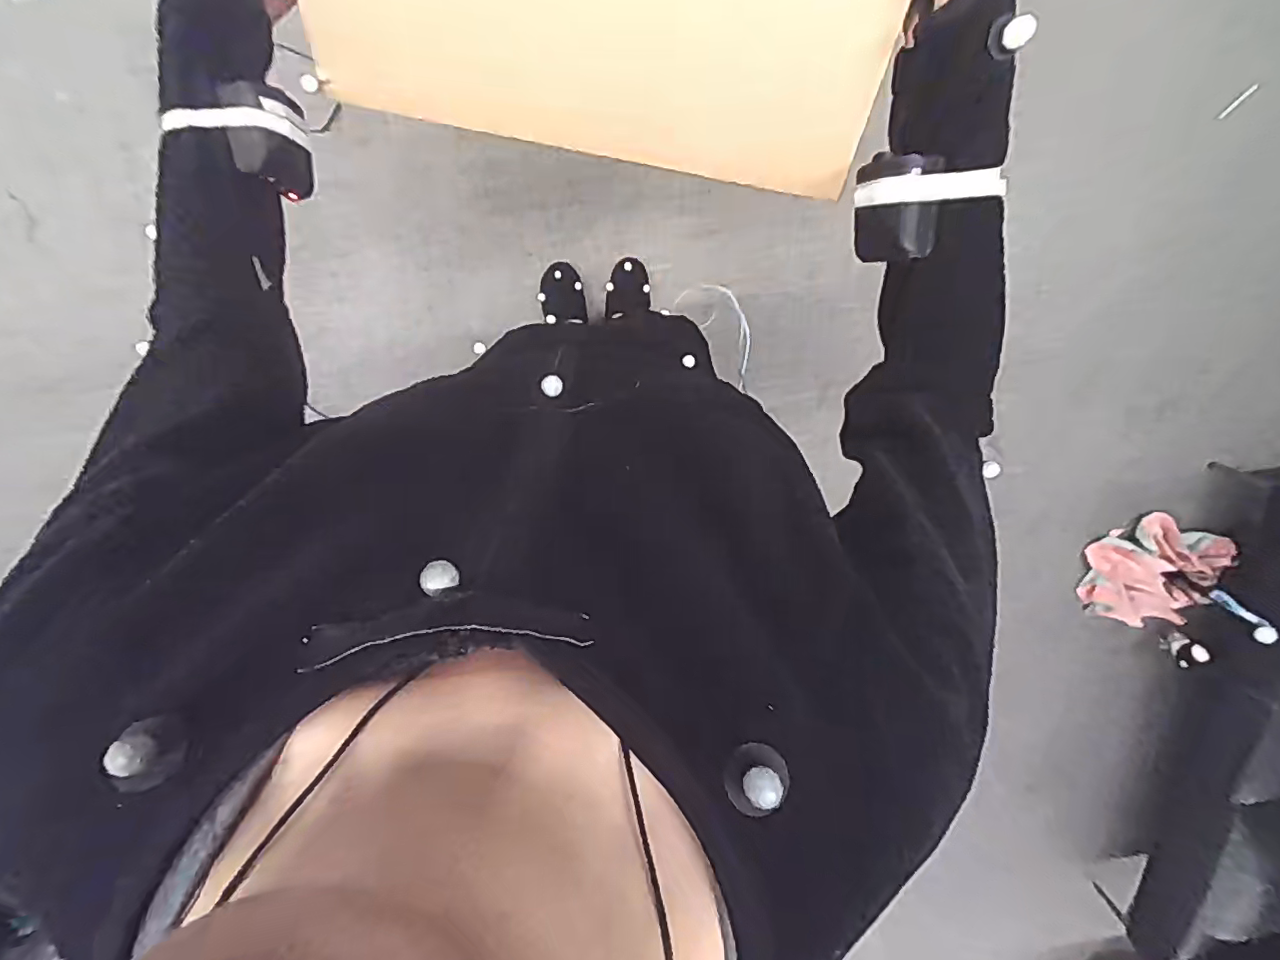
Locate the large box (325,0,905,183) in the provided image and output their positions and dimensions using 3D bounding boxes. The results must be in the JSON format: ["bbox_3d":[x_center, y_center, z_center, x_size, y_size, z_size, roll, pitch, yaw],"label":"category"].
[{"bbox_3d":[0.007,-0.470,0.415,0.408,0.320,0.320,13,134,4],"label":"large box"}]
